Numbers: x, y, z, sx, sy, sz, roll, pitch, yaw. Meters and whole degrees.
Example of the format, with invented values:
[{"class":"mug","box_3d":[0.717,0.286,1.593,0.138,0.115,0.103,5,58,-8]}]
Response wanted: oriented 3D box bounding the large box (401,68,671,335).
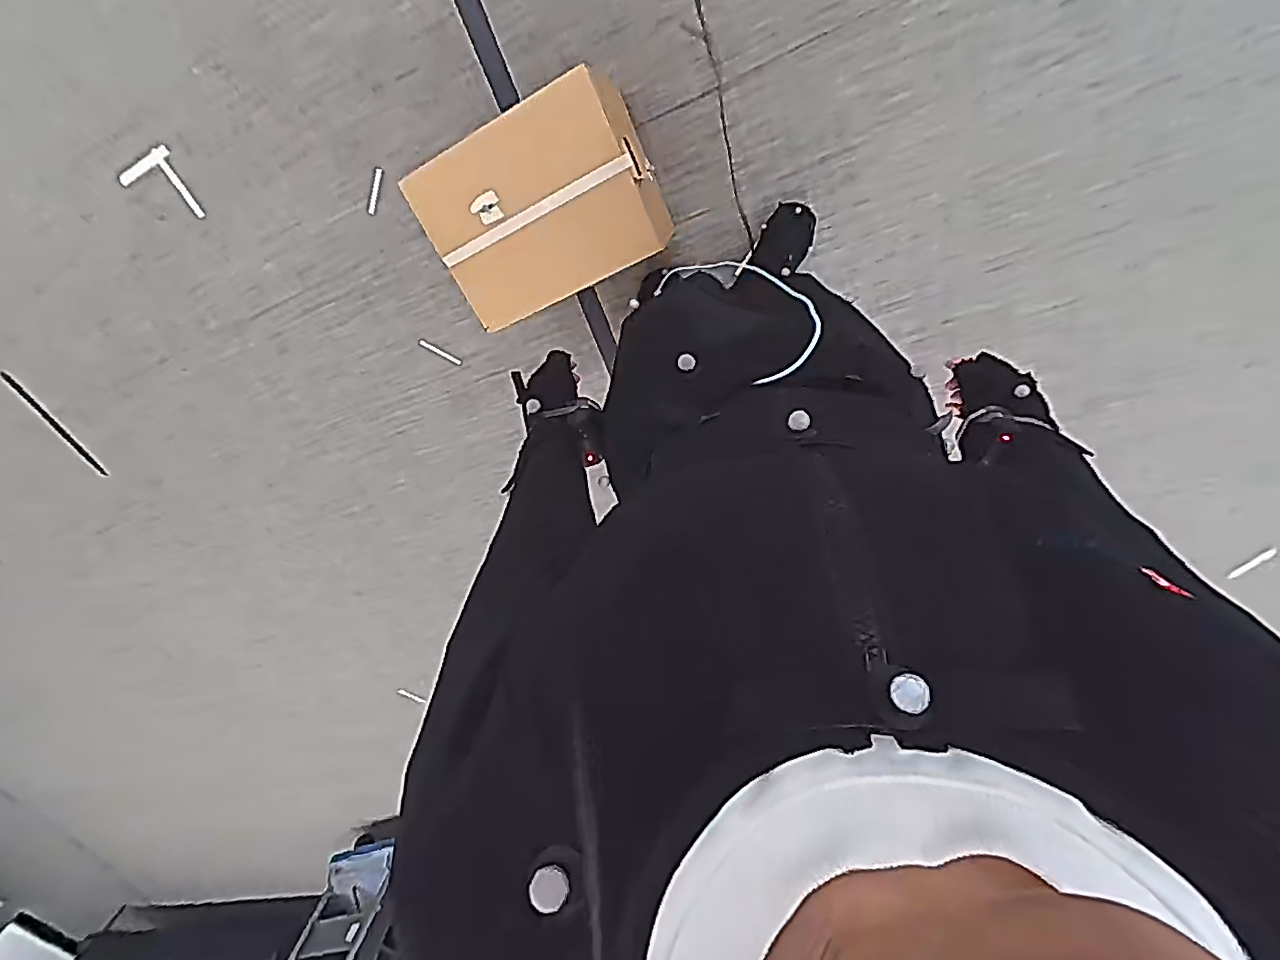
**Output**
[{"class":"large box","box_3d":[-0.186,-0.563,1.124,0.408,0.320,0.320,-19,116,19]}]
